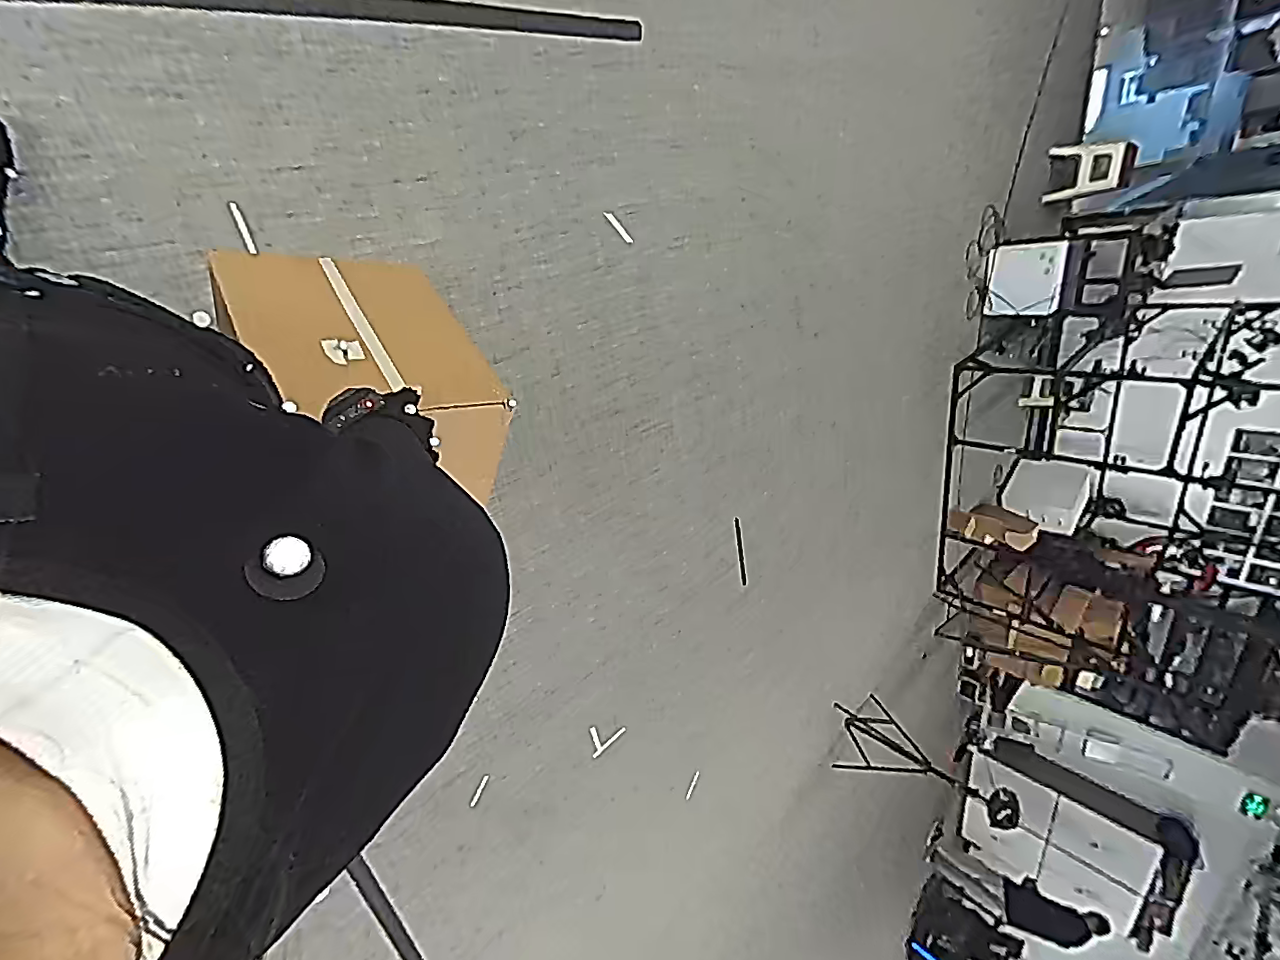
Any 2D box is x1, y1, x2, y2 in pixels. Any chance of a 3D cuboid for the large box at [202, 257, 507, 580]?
[{"bbox_3d":[-0.477,-0.113,0.896,0.320,0.408,0.320,-14,145,-39],"label":"large box"}]
